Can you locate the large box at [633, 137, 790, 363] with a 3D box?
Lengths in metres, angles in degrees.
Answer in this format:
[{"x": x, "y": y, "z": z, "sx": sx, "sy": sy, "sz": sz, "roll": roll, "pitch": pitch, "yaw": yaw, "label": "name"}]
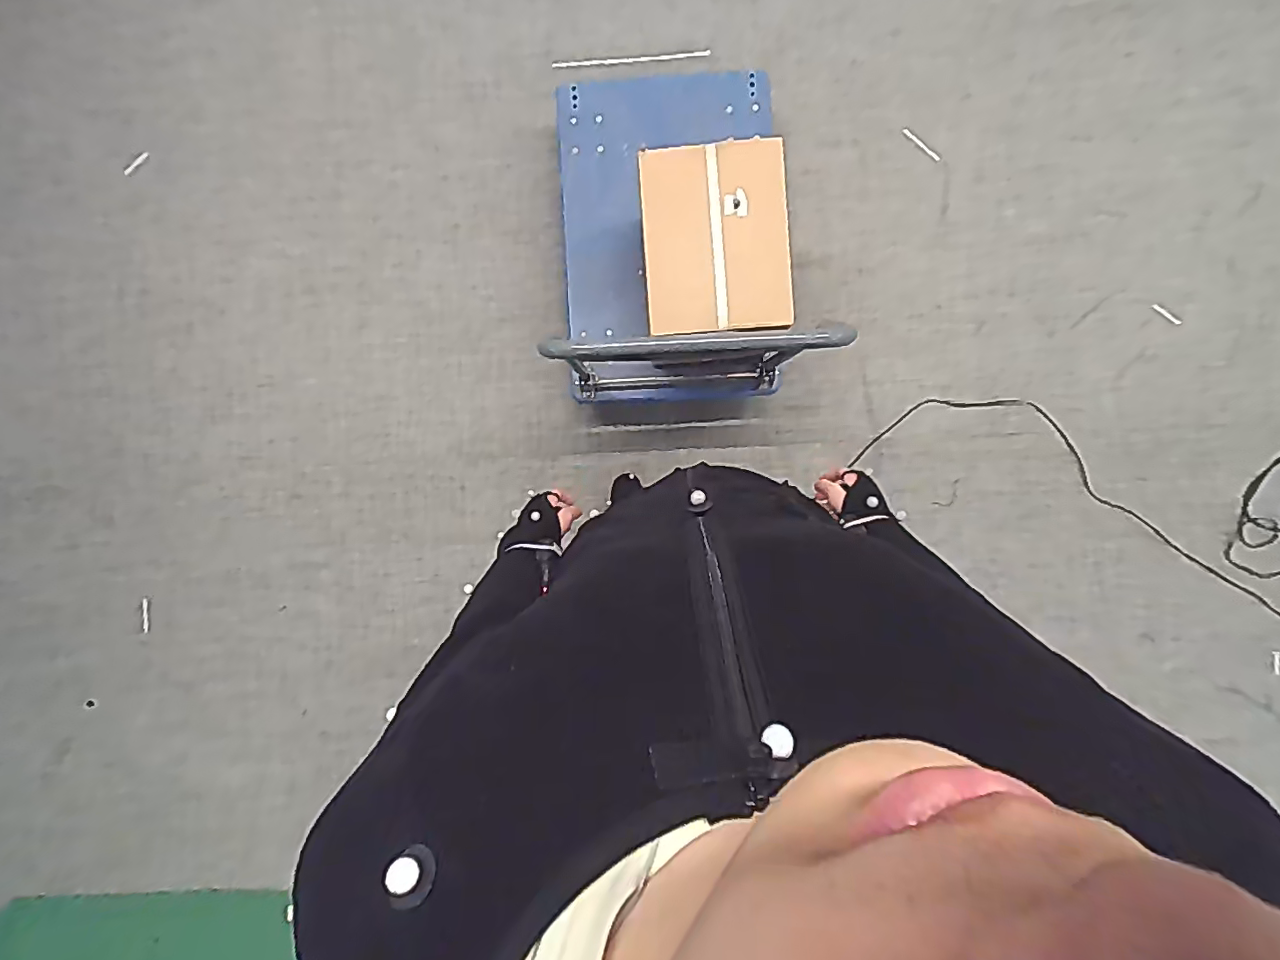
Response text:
[{"x": 0.158, "y": -0.524, "z": 1.306, "sx": 0.320, "sy": 0.320, "sz": 0.408, "roll": -4, "pitch": 90, "yaw": 1, "label": "large box"}]
